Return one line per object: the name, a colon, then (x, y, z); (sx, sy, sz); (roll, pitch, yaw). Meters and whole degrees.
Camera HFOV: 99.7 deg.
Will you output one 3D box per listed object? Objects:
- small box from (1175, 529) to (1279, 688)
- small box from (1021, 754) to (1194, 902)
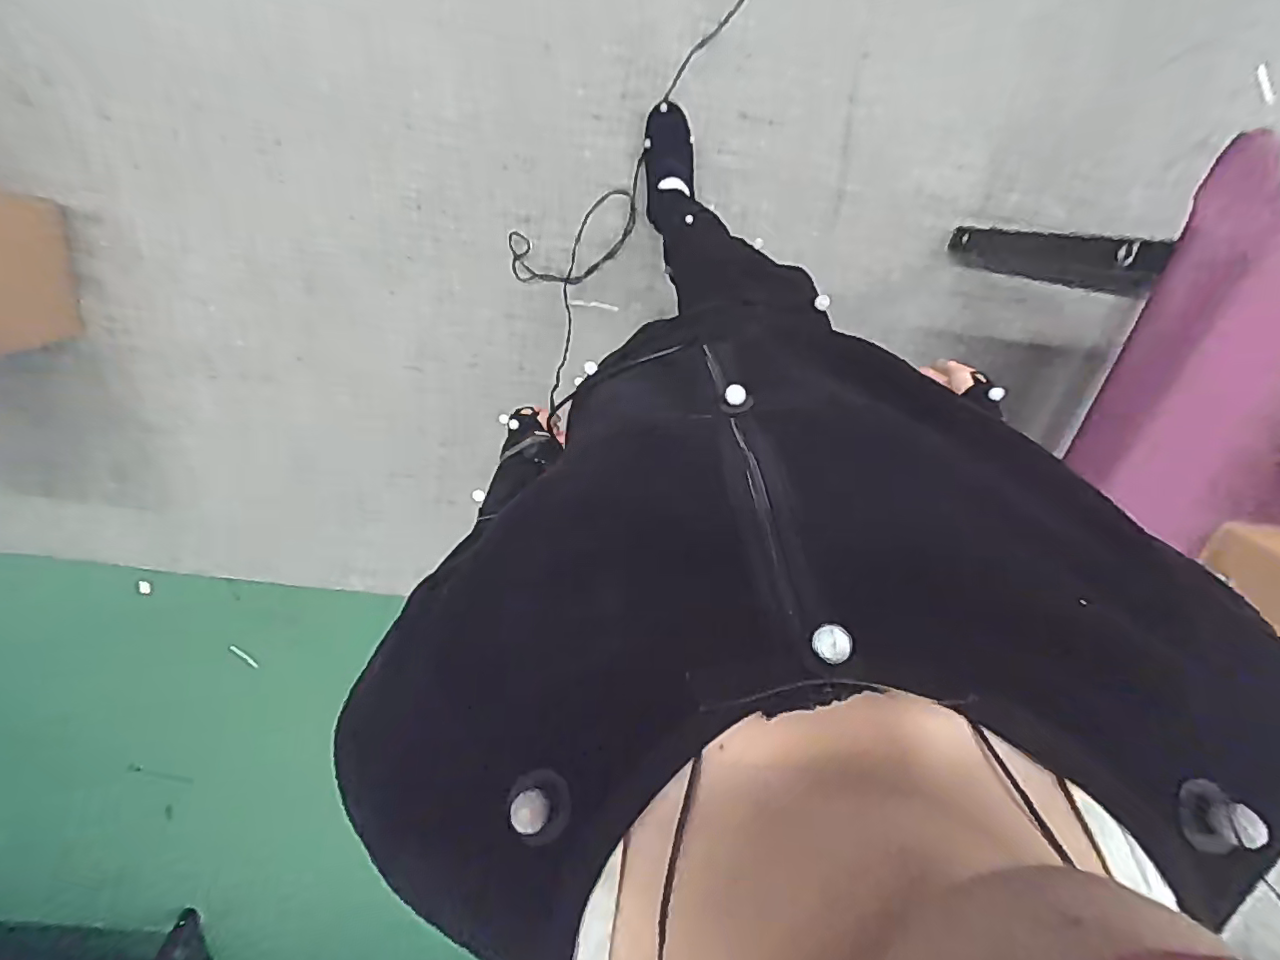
small box: (0.965, 0.185, 0.784); (0.179, 0.176, 0.168); (6, 116, -3)
small box: (0.853, 0.638, 1.009); (0.168, 0.176, 0.179); (-10, 116, 4)
